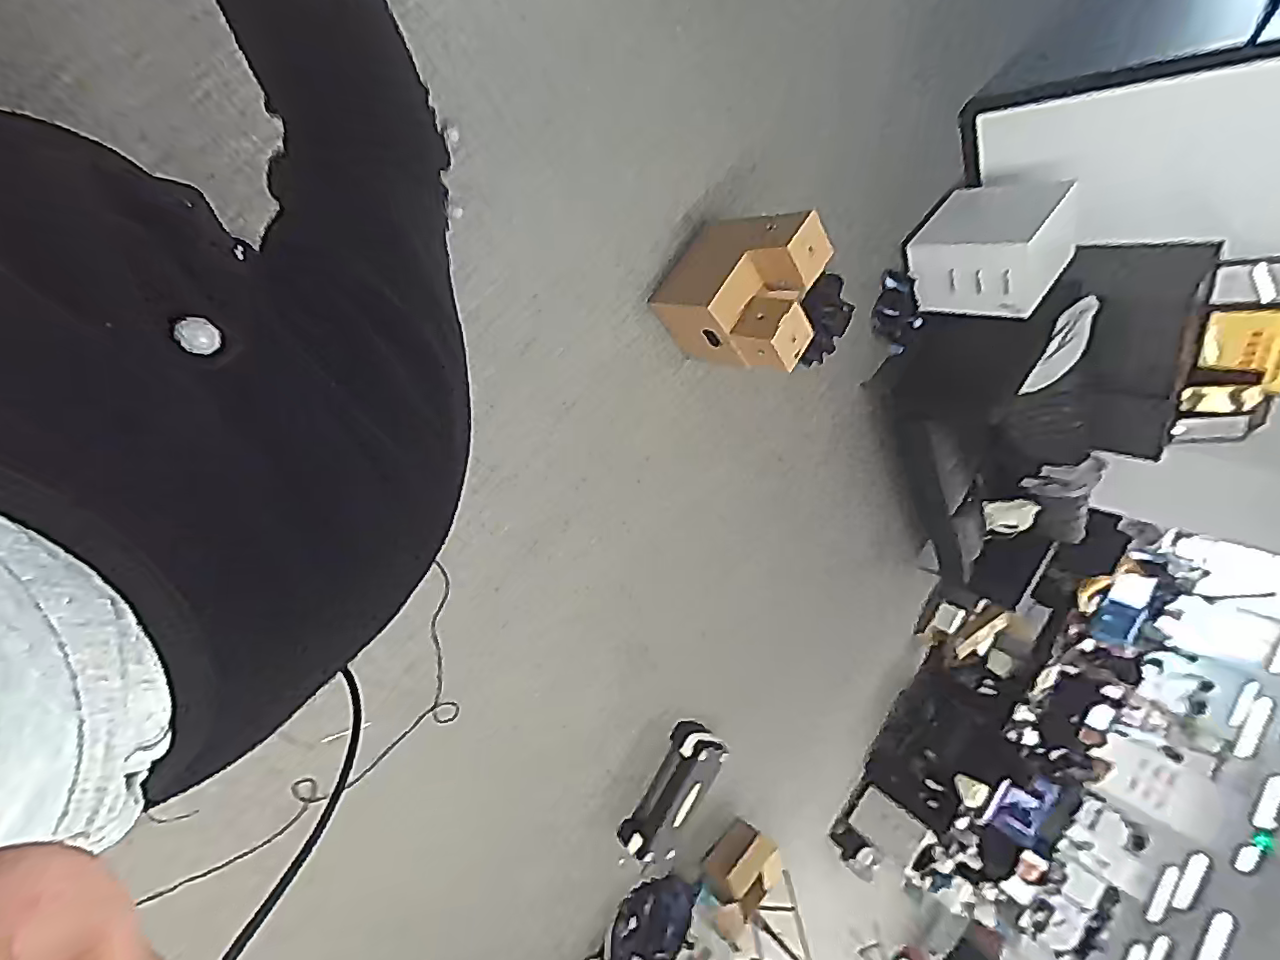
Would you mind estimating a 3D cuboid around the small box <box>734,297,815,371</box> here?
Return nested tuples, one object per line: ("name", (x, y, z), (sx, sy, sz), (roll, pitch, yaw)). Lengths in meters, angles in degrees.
("small box", (0.443, -0.487, 1.796), (0.179, 0.176, 0.168), (40, 80, -43))

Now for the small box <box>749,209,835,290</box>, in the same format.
("small box", (0.486, -0.736, 1.737), (0.179, 0.176, 0.168), (42, 77, -38))
